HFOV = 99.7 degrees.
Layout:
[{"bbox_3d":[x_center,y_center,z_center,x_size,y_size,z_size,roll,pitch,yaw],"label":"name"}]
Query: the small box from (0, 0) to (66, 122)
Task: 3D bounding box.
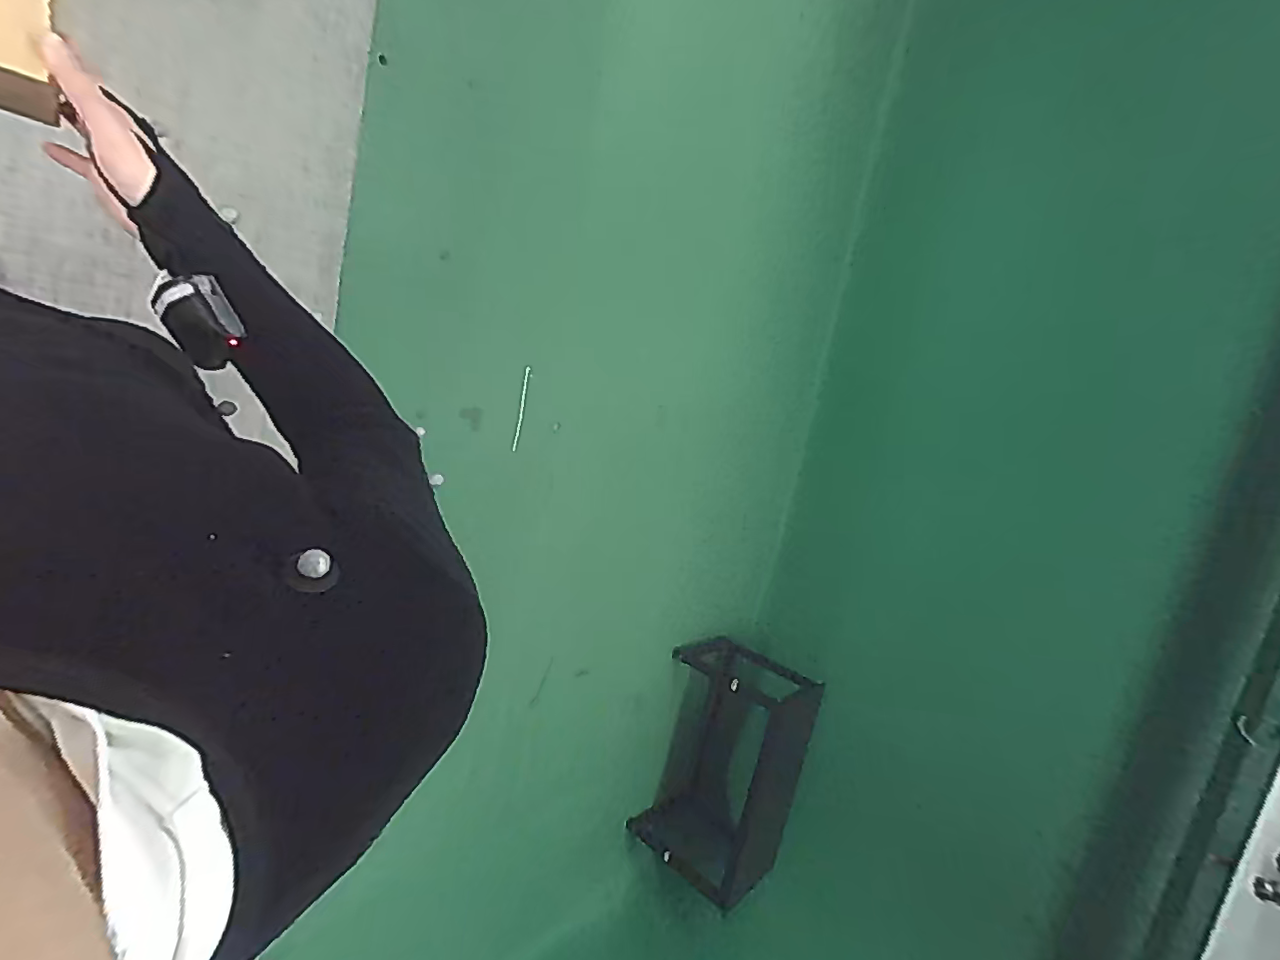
[{"bbox_3d":[-0.502,-0.376,0.356,0.168,0.176,0.179,2,106,-47],"label":"small box"}]
